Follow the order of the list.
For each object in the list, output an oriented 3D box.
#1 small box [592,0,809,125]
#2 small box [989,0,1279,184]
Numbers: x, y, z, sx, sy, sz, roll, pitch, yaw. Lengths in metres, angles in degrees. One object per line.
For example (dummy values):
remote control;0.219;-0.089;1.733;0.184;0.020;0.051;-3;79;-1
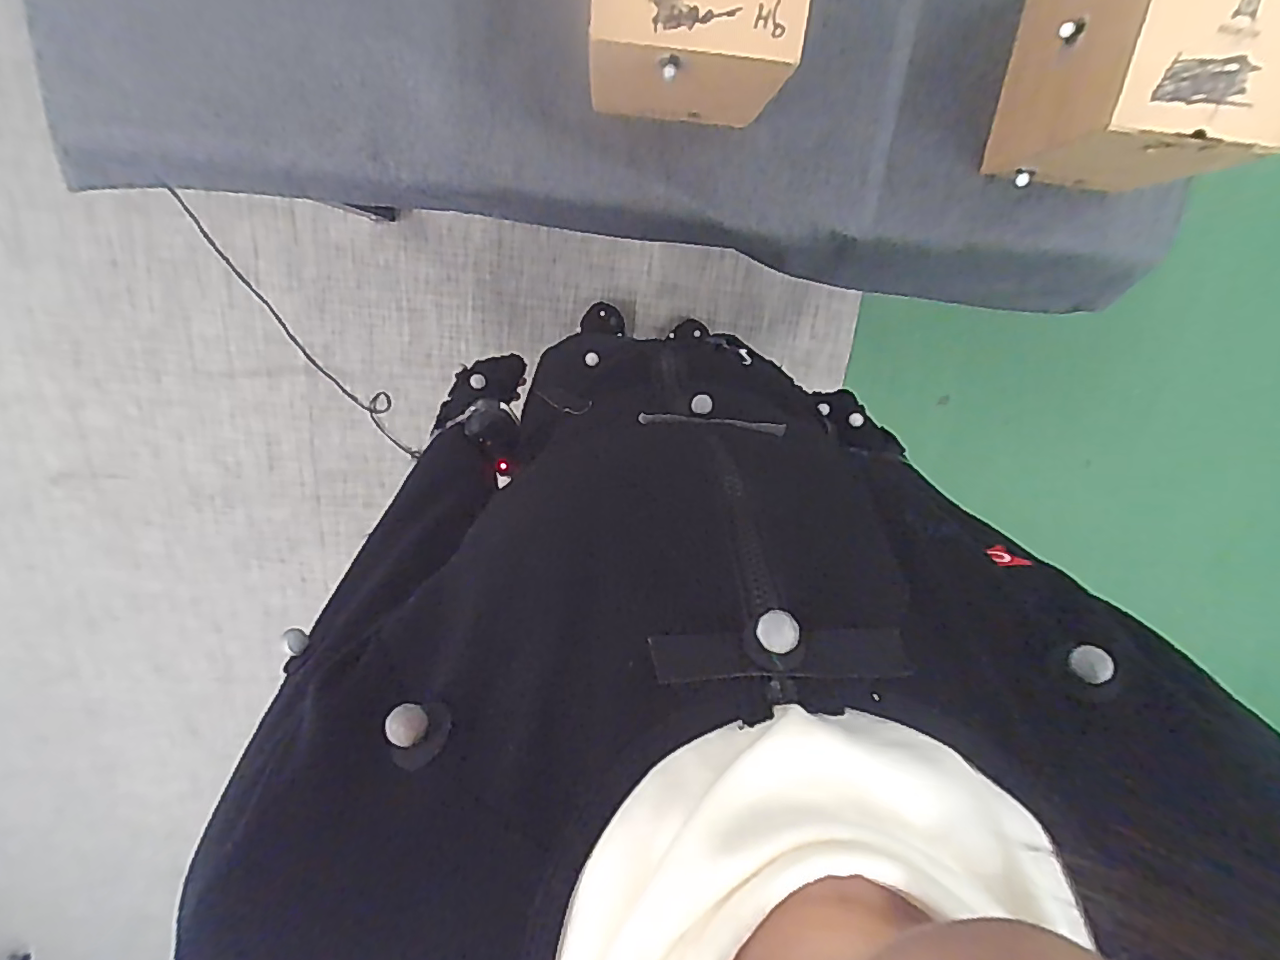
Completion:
small box;0.046;-0.439;0.464;0.168;0.176;0.179;4;108;-5
small box;0.469;-0.394;0.503;0.168;0.176;0.179;5;107;-5
